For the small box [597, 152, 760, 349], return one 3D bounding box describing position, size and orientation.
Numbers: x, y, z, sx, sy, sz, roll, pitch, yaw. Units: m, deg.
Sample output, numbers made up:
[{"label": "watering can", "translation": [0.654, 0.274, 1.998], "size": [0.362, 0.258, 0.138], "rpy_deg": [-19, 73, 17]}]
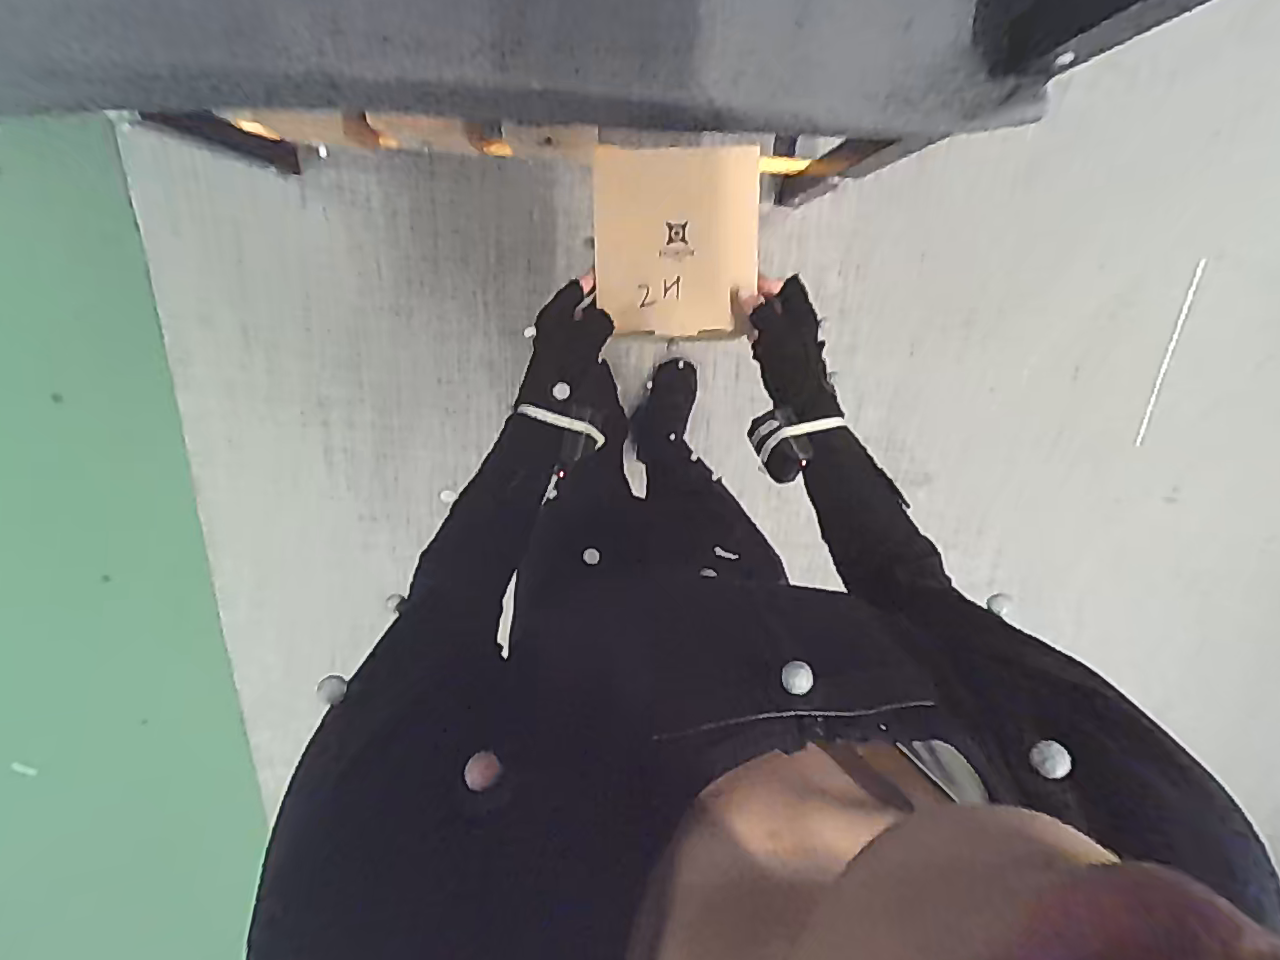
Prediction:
[{"label": "small box", "translation": [0.040, -0.249, 0.626], "size": [0.168, 0.176, 0.179], "rpy_deg": [-1, 100, 3]}]
